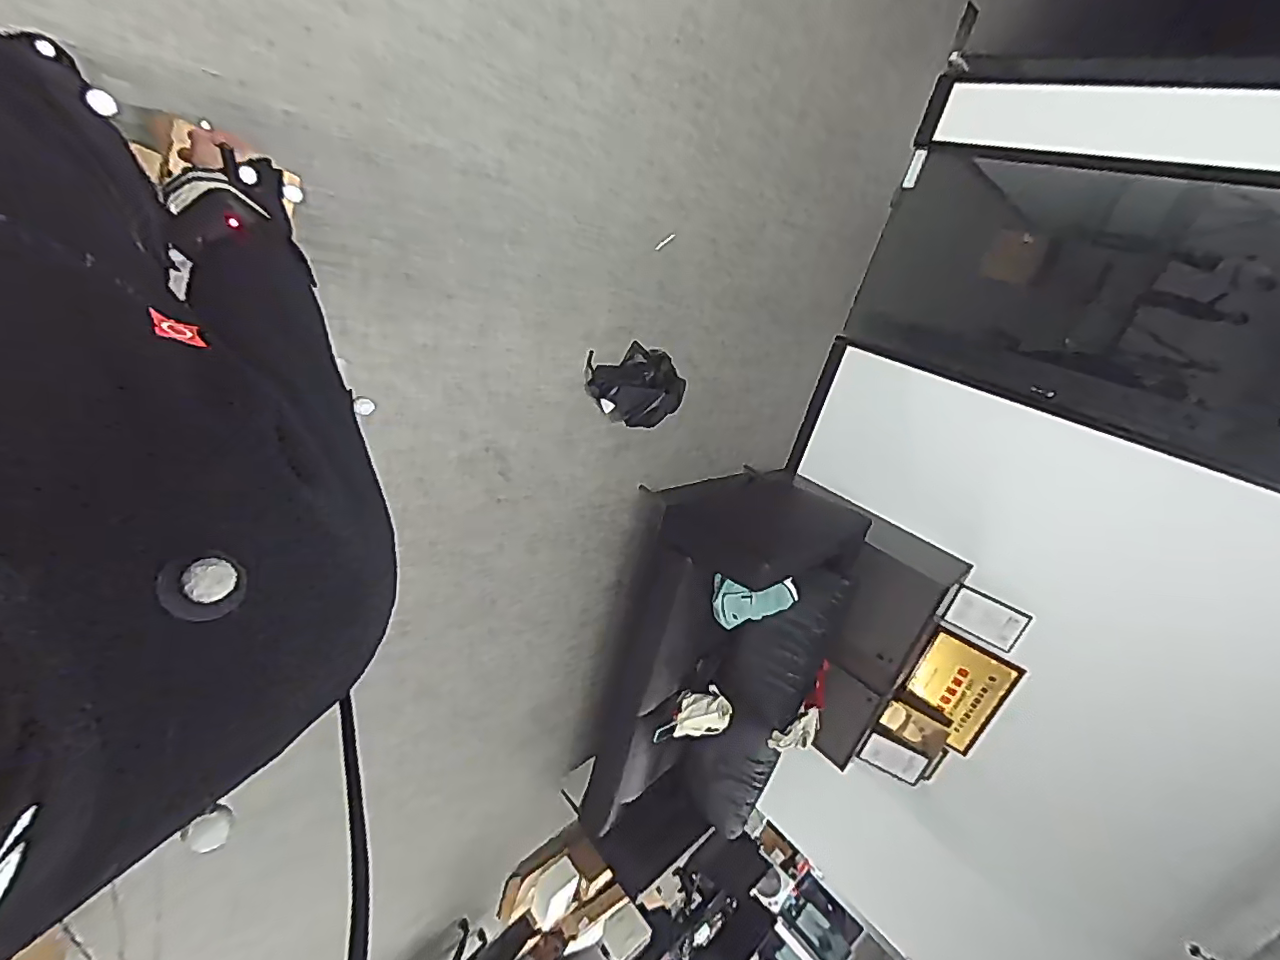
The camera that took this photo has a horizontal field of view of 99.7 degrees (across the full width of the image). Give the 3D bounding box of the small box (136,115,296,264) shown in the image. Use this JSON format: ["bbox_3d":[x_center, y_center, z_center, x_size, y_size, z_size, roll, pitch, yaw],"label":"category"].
[{"bbox_3d":[-0.747,-0.512,0.952,0.179,0.176,0.168,7,112,-51],"label":"small box"}]
